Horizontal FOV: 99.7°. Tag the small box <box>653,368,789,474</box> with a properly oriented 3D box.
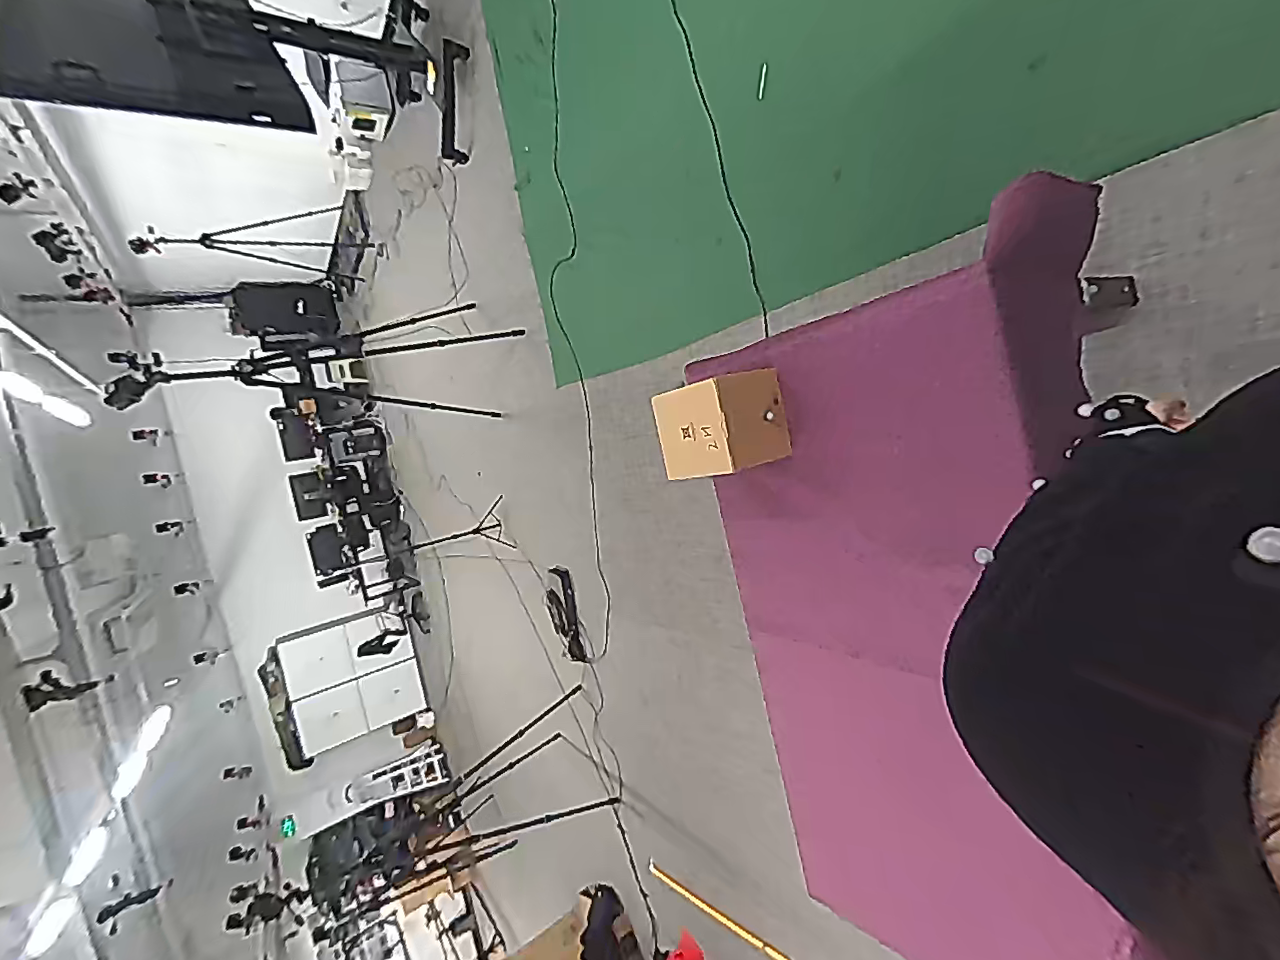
[{"bbox_3d":[0.153,-0.111,1.027,0.179,0.176,0.168,-6,98,52],"label":"small box"}]
